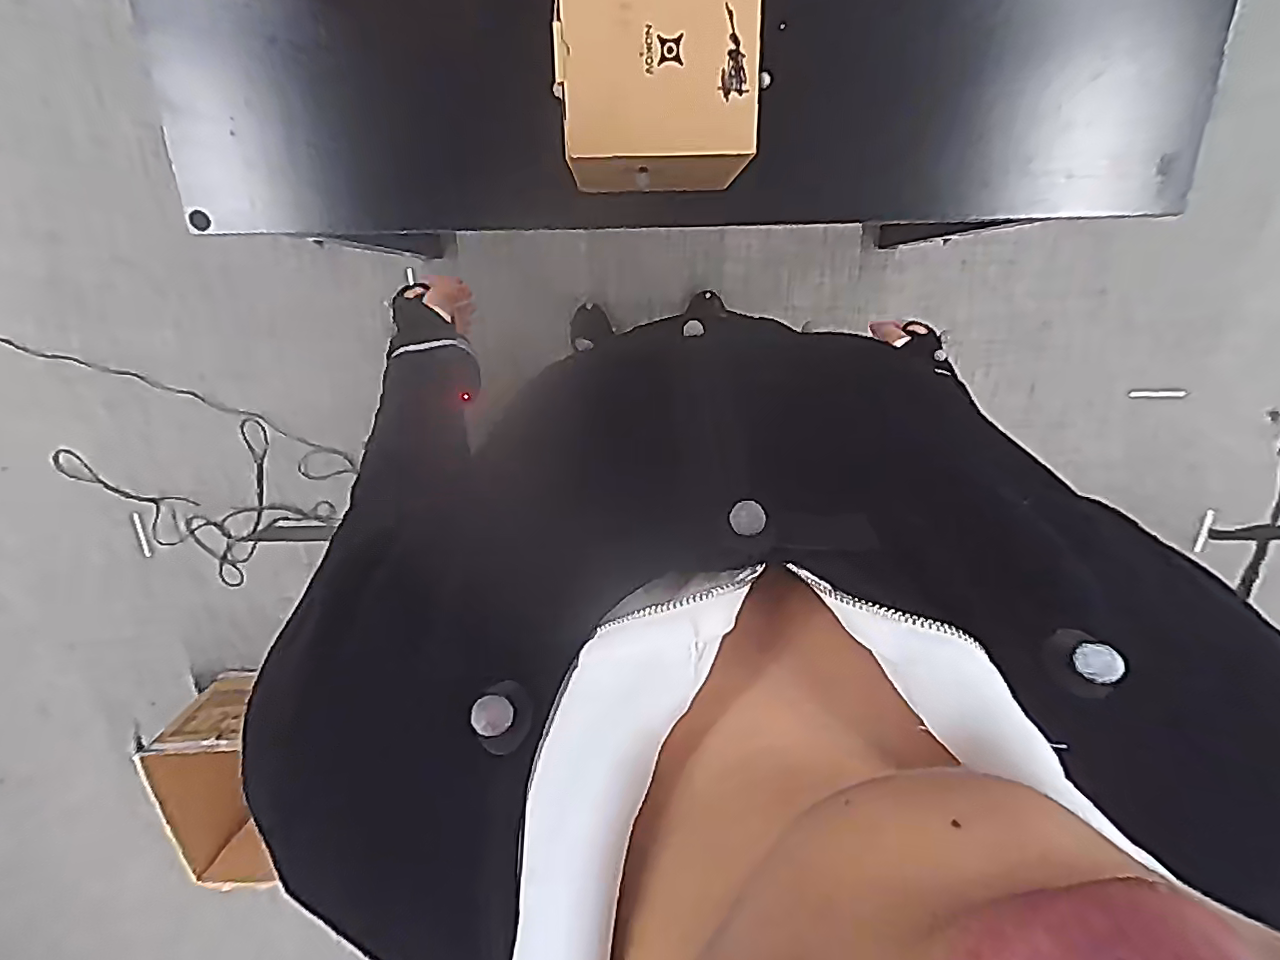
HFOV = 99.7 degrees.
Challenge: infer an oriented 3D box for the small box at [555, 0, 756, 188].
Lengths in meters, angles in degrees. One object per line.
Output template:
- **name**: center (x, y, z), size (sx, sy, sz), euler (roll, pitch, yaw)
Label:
- **small box**: center (0.015, -0.405, 0.550), size (0.179, 0.176, 0.168), euler (-2, 109, 0)
